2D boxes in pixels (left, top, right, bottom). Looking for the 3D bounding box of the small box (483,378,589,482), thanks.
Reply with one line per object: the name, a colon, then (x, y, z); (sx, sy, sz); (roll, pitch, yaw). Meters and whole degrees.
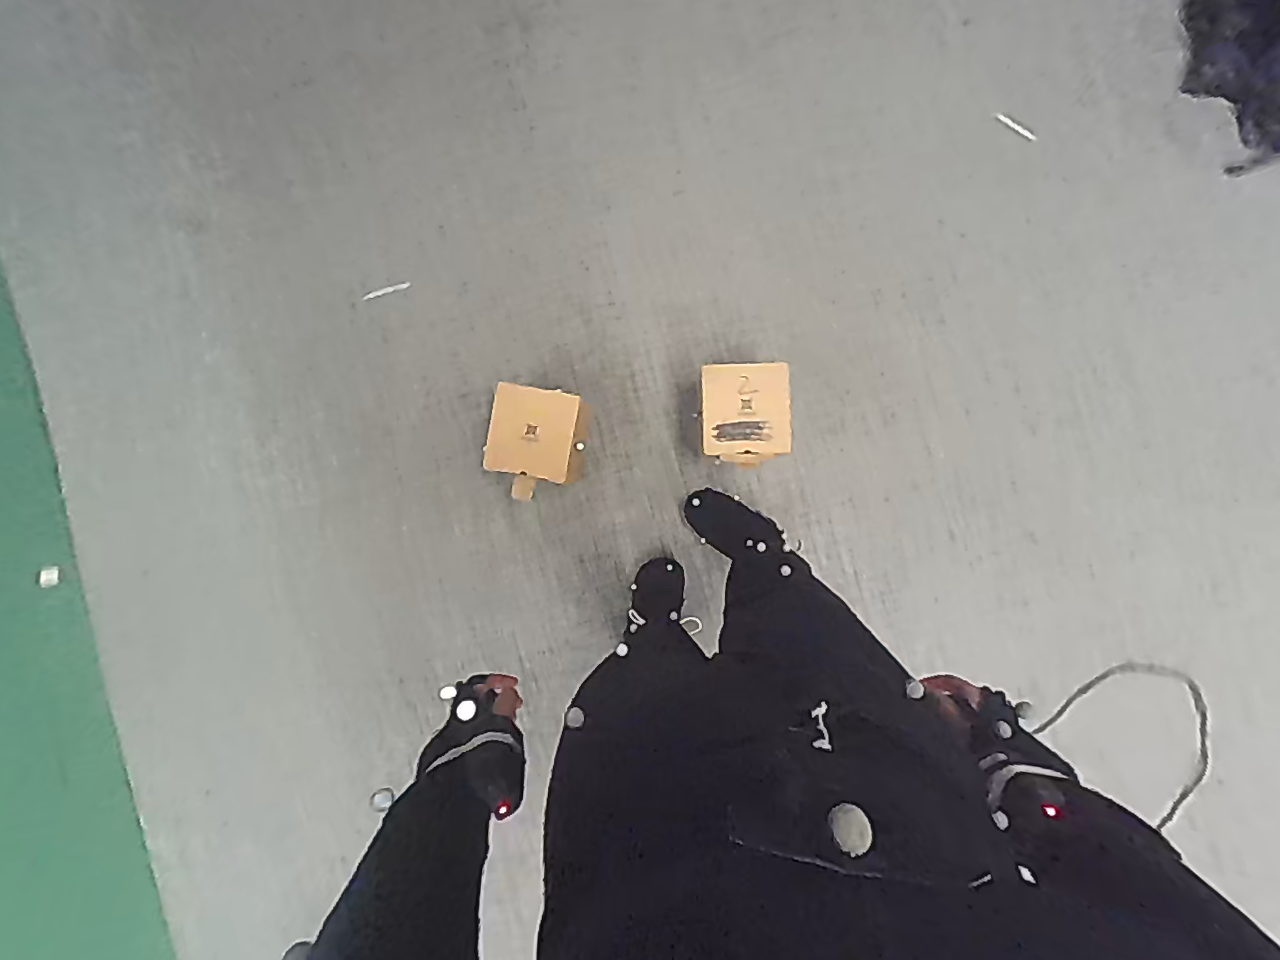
small box: (-0.206, -0.097, 1.115); (0.168, 0.176, 0.179); (11, 91, 2)
